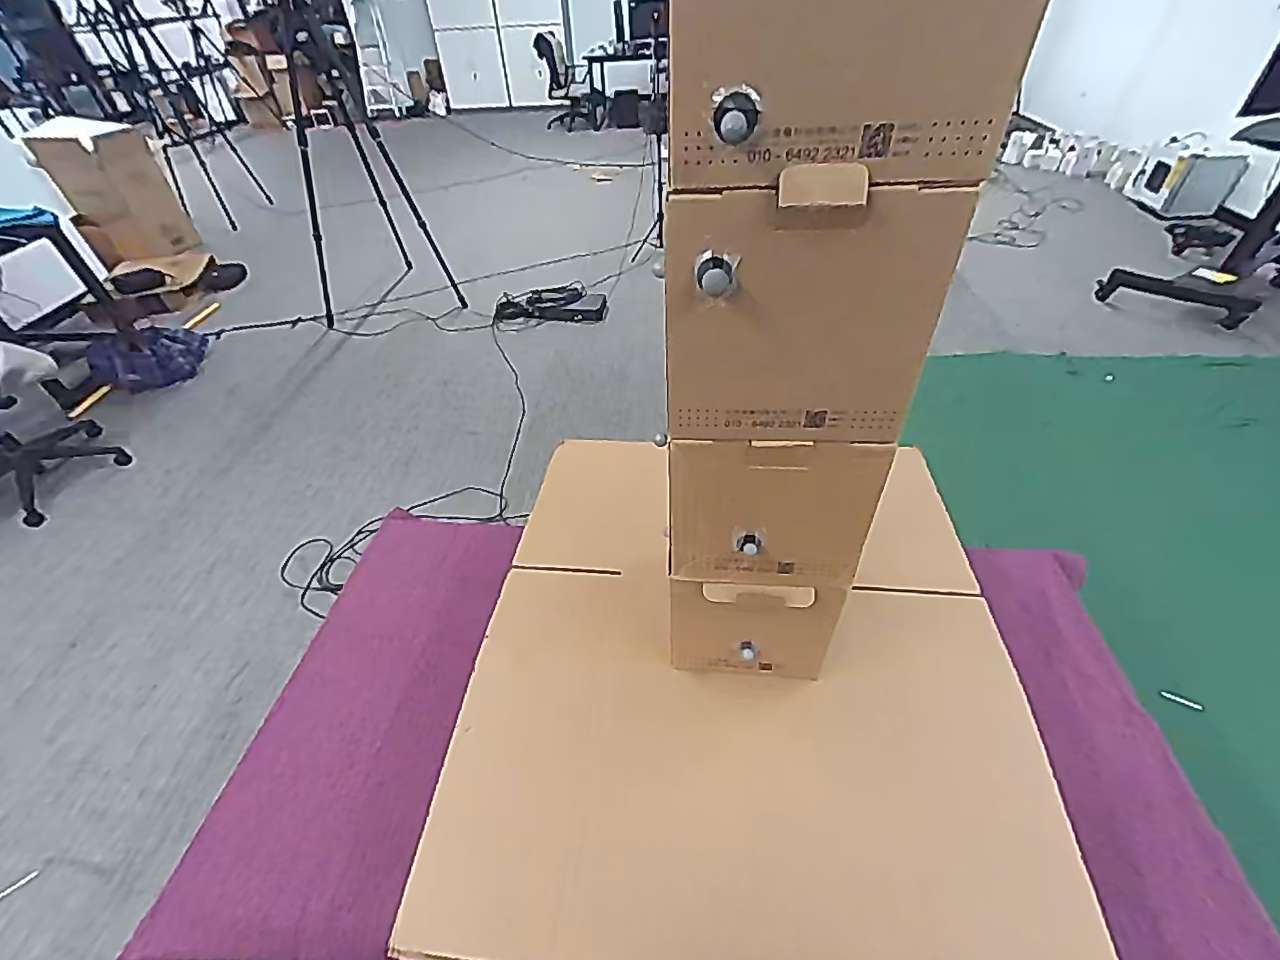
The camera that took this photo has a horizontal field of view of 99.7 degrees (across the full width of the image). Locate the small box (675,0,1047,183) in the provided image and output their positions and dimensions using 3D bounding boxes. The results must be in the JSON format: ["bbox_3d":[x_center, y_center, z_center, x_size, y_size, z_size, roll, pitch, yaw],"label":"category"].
[{"bbox_3d":[0.103,-0.271,0.290,0.168,0.176,0.179,-1,43,2],"label":"small box"}]

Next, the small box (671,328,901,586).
[{"bbox_3d":[0.116,-0.025,0.509,0.168,0.176,0.179,2,42,5],"label":"small box"}]

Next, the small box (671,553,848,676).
[{"bbox_3d":[0.123,0.096,0.617,0.168,0.176,0.179,3,43,7],"label":"small box"}]
